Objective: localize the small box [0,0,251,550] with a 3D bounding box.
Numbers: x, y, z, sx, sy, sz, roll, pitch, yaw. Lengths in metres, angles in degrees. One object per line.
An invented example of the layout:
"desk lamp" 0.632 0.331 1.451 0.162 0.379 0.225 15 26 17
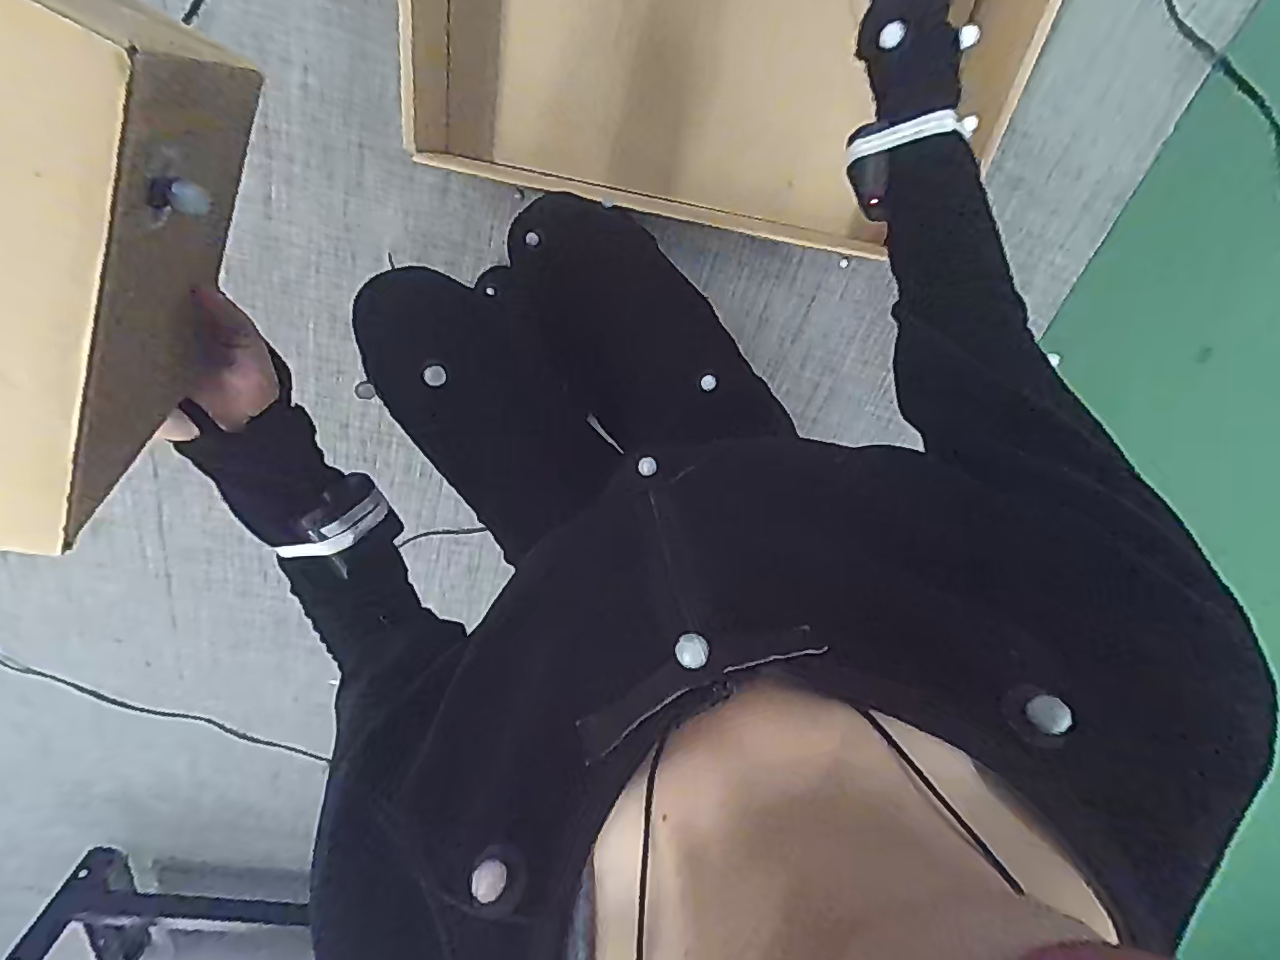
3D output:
"small box" -0.270 -0.105 0.198 0.168 0.176 0.179 17 114 -32
